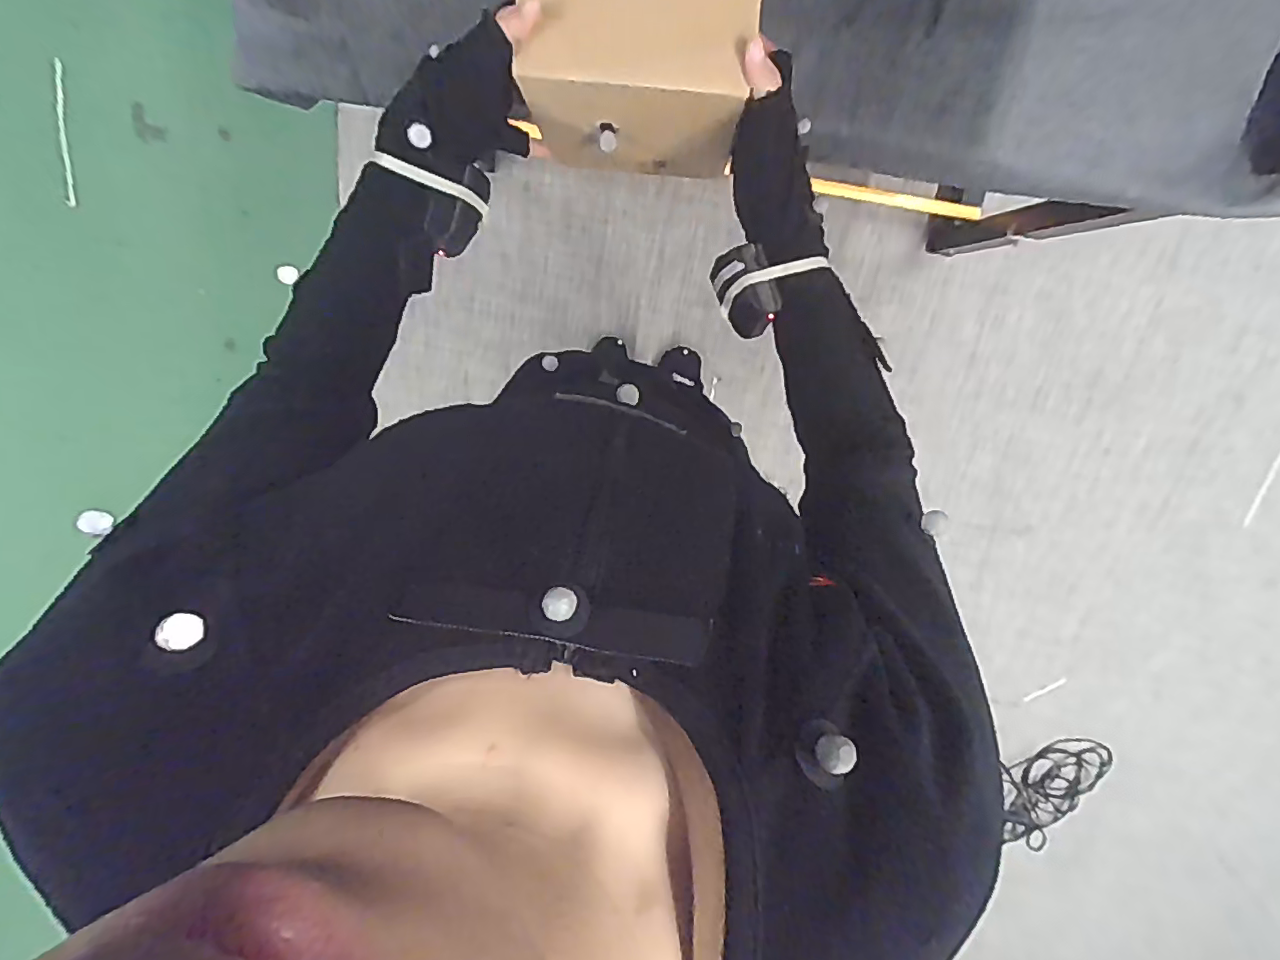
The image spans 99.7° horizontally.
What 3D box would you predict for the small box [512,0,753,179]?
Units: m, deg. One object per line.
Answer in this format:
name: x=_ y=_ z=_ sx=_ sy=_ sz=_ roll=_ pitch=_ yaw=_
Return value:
small box: x=0.002 y=-0.371 z=0.441 sx=0.168 sy=0.176 sz=0.179 roll=6 pitch=99 yaw=0
